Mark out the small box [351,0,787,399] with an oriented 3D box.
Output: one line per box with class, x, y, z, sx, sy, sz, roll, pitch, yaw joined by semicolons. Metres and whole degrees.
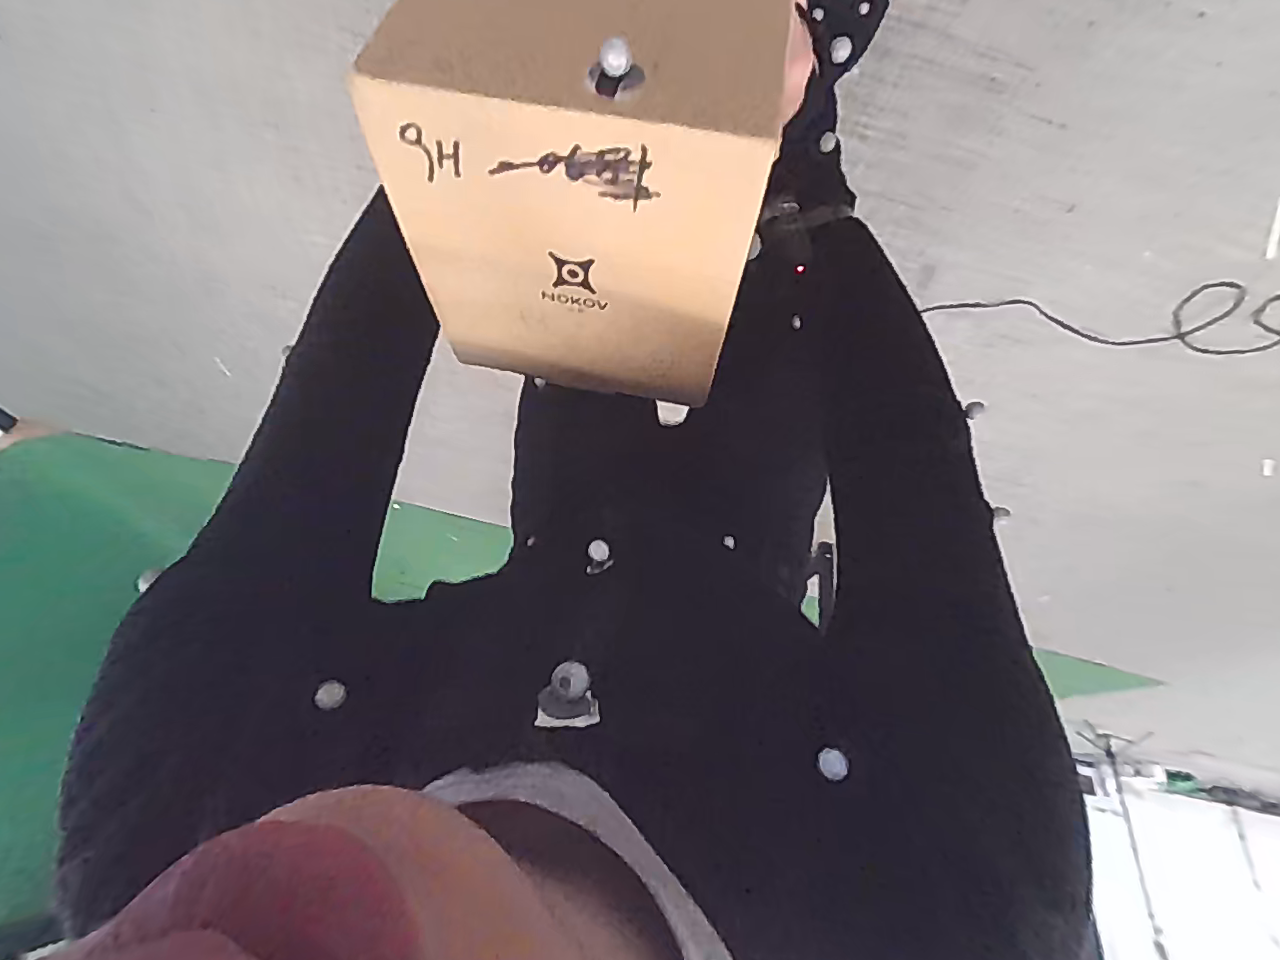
small box;-0.019;-0.175;0.310;0.168;0.176;0.179;10;156;2
